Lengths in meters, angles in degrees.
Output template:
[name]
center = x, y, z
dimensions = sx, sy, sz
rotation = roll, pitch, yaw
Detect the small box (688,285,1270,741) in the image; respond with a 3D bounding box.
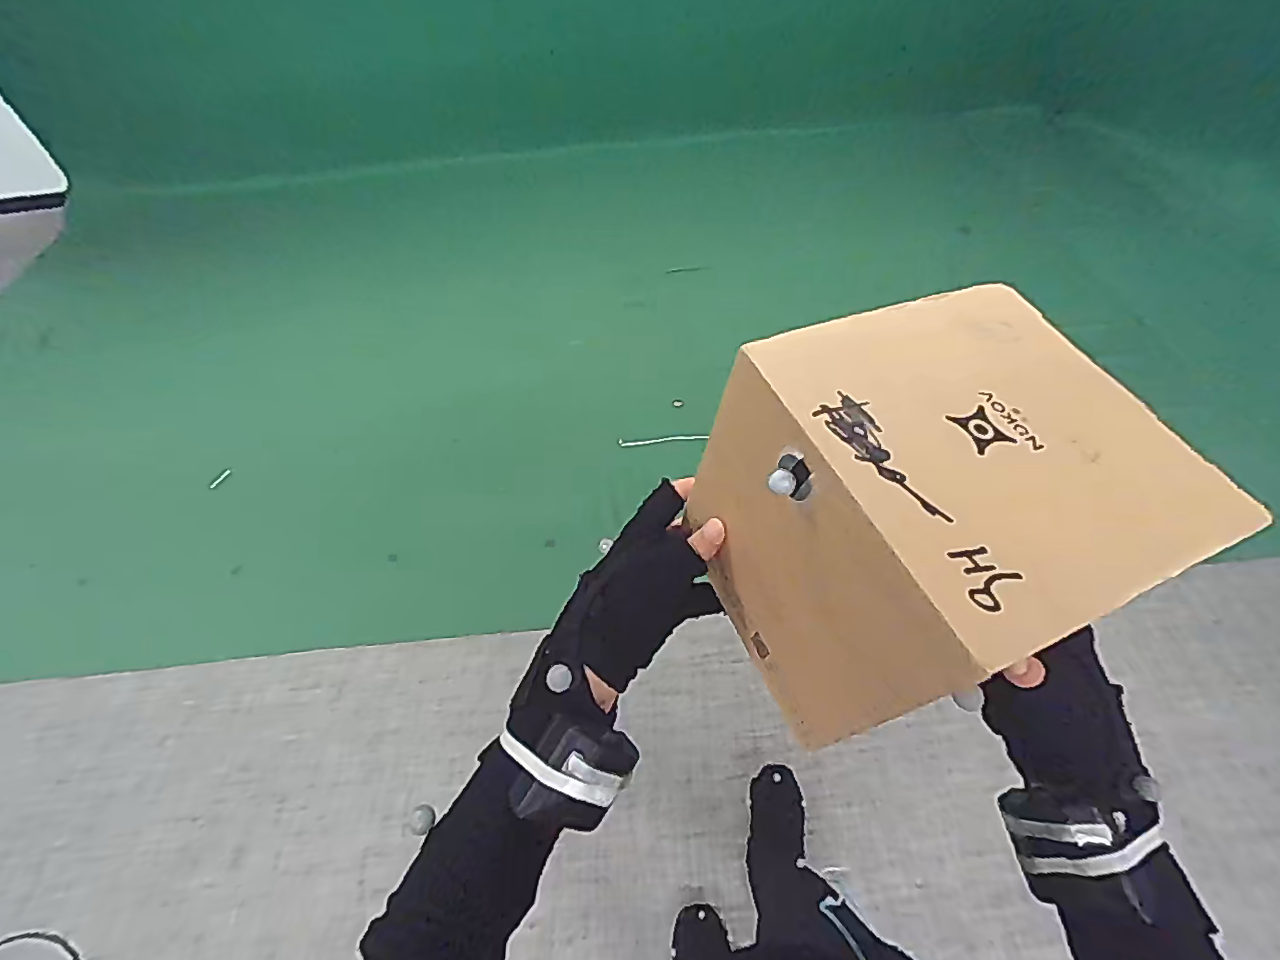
[small box]
center = 0.148, 0.021, 0.304
dimensions = 0.179, 0.176, 0.168
rotation = -16, 59, -19
